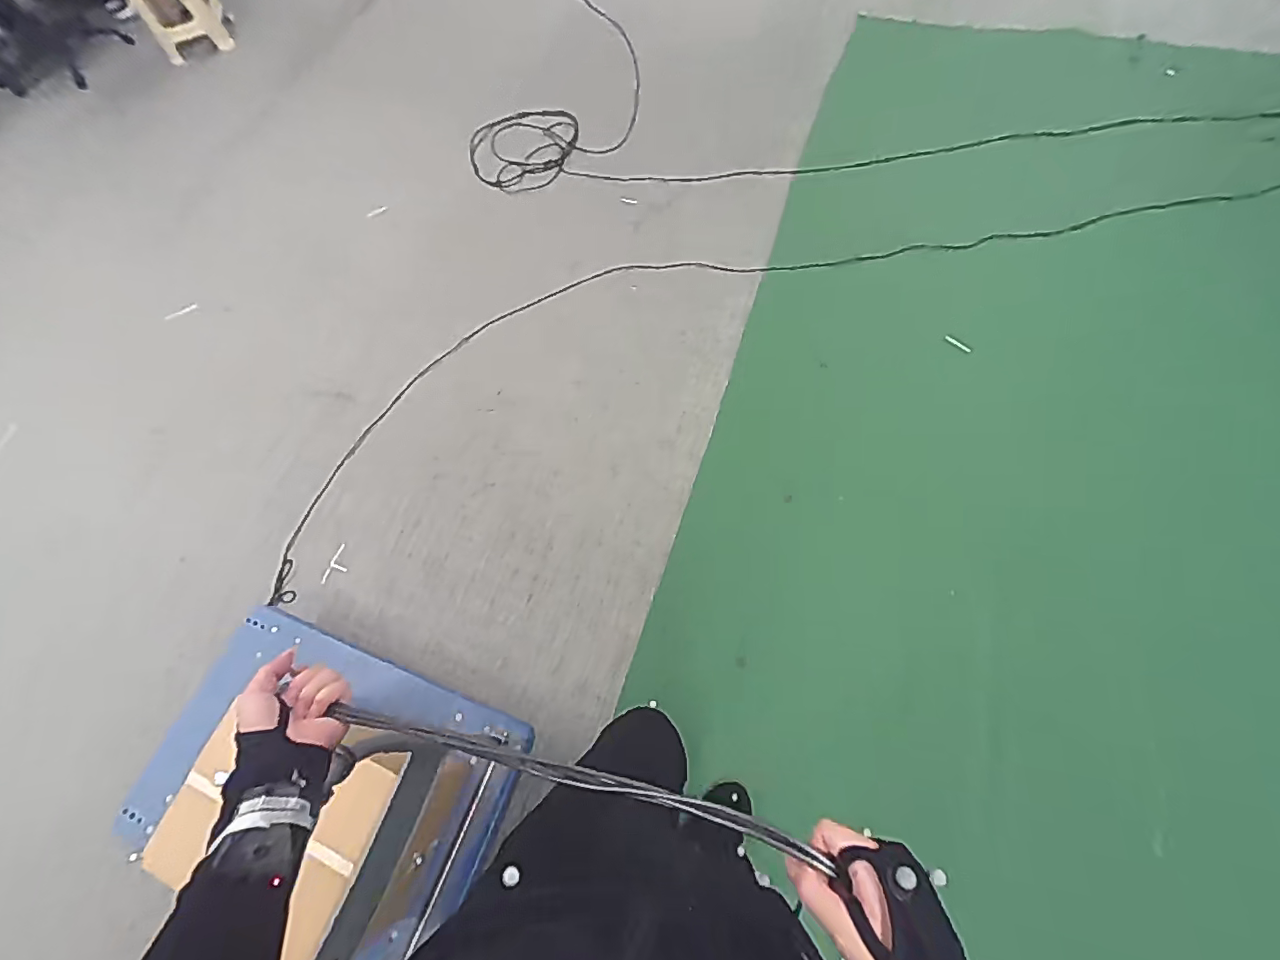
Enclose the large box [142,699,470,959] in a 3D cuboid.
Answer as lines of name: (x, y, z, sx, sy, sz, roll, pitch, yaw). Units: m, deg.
large box: (-0.636, 0.678, 1.102, 0.408, 0.320, 0.320, 17, 68, 15)
